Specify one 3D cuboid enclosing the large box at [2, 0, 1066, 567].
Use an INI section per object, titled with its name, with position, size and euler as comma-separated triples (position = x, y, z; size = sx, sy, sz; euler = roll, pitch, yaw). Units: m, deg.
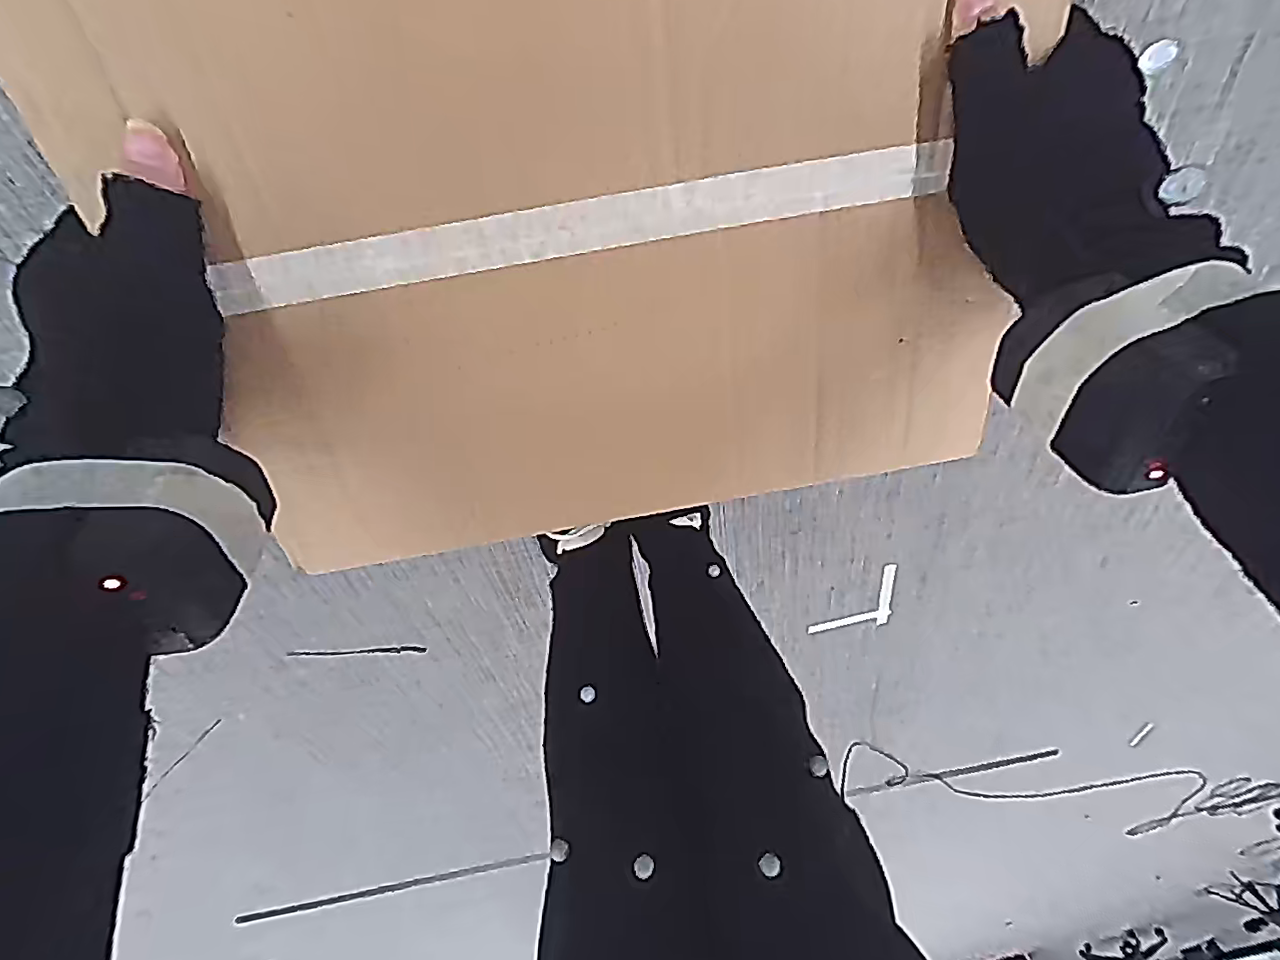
[large box]
position = -0.031, -0.186, 0.377
size = 0.408, 0.320, 0.320
euler = -10, 122, -1
